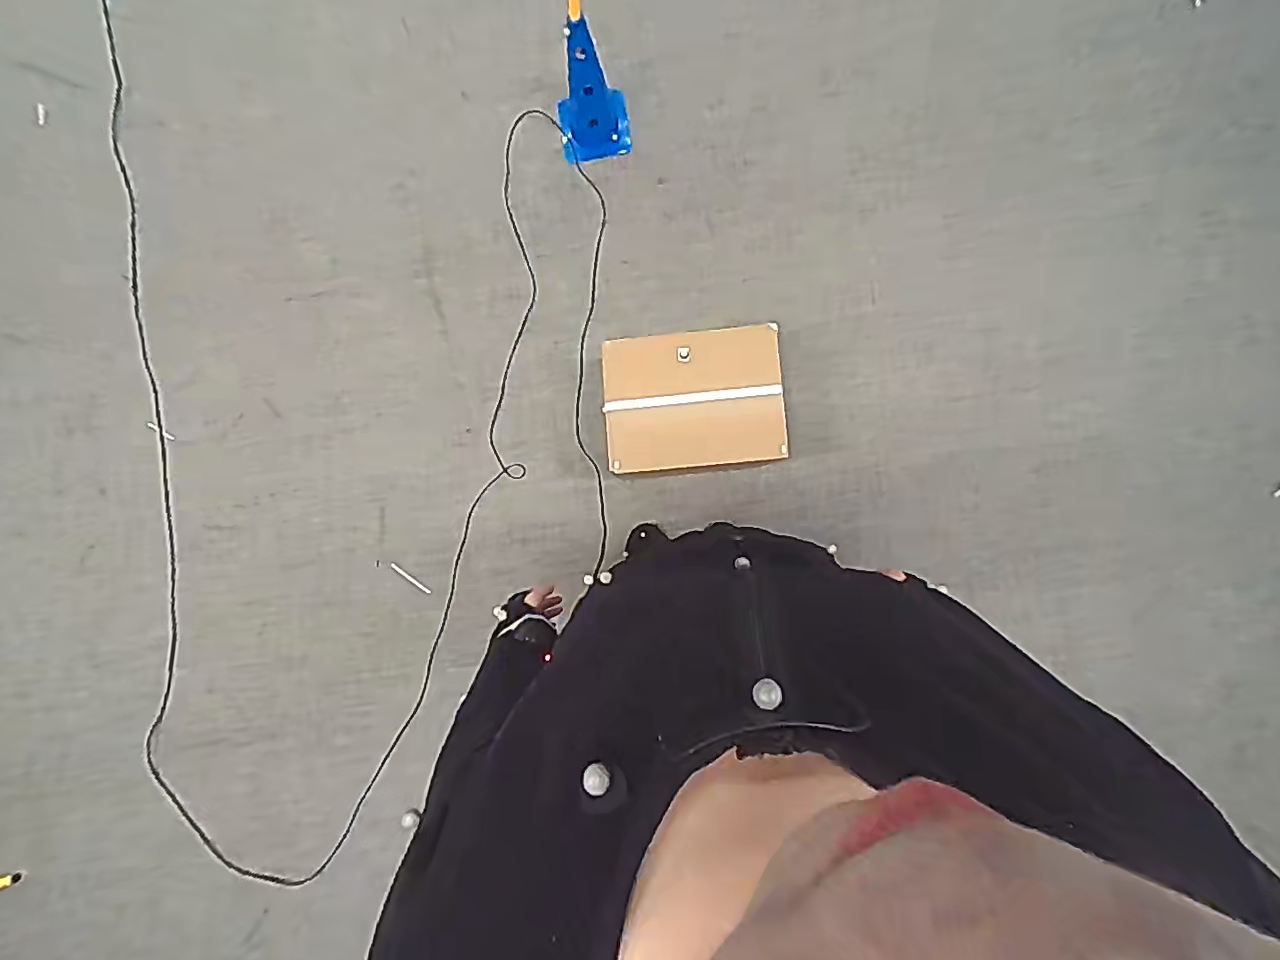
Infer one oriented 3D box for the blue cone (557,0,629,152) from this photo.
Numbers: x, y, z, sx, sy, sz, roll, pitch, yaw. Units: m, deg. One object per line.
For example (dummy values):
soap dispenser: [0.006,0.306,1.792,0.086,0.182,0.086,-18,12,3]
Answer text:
blue cone: [-0.141,-1.062,1.395,0.193,0.380,0.192,-11,87,0]
